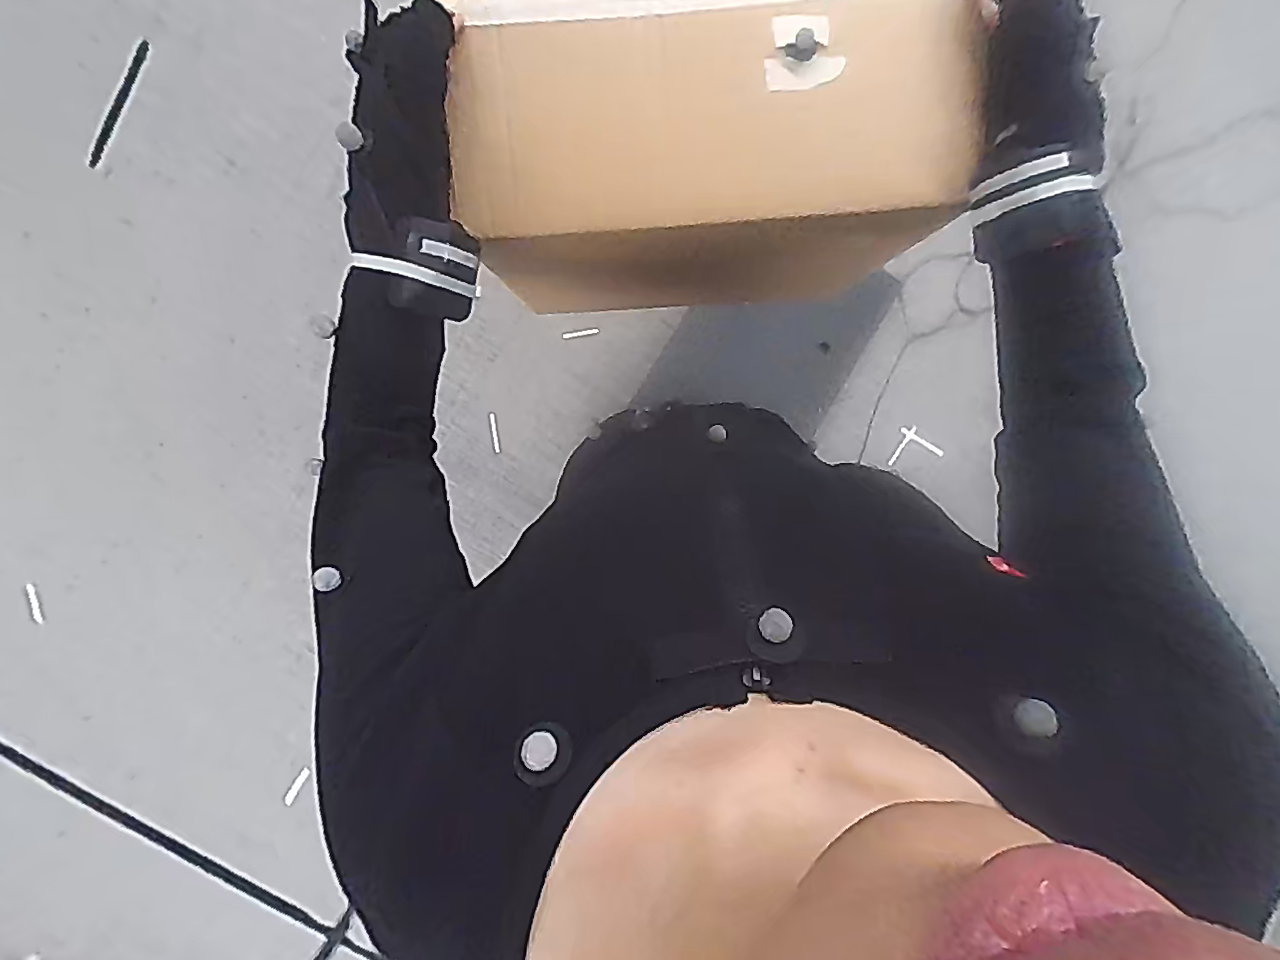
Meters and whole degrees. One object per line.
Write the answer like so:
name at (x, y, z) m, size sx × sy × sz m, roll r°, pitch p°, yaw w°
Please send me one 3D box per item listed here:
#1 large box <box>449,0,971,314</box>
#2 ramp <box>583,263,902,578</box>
large box at (0.051, -0.372, 0.560) m, size 0.408 × 0.320 × 0.320 m, roll -3°, pitch 96°, yaw 0°
ramp at (0.299, -0.272, 1.531) m, size 0.509 × 0.206 × 0.991 m, roll 30°, pitch 96°, yaw -1°
